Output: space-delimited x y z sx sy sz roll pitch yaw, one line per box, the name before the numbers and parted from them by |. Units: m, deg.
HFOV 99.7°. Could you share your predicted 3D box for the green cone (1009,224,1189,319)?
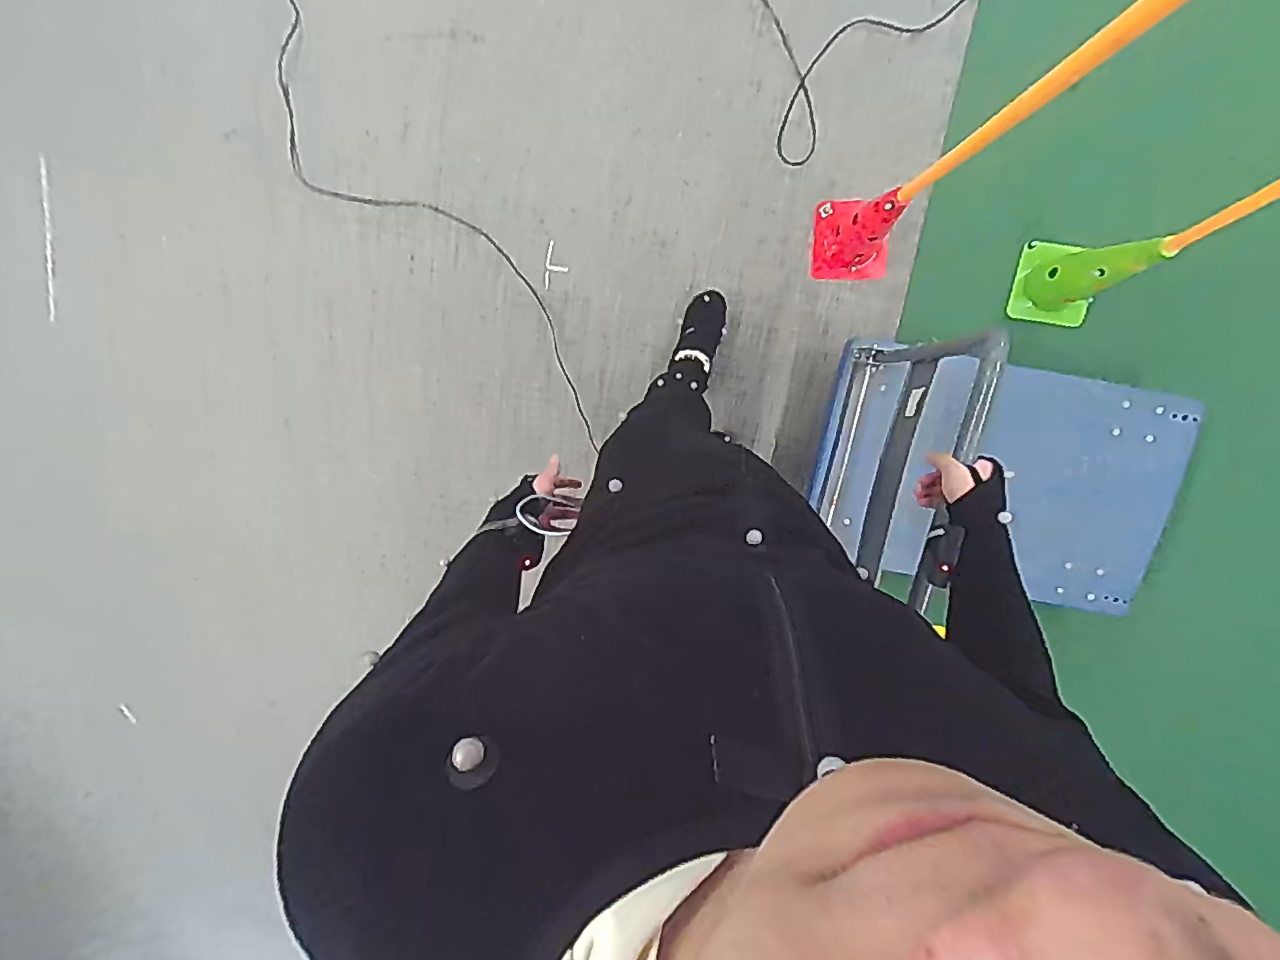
green cone | 1.072 -0.508 1.244 0.202 0.368 0.200 8 99 2
